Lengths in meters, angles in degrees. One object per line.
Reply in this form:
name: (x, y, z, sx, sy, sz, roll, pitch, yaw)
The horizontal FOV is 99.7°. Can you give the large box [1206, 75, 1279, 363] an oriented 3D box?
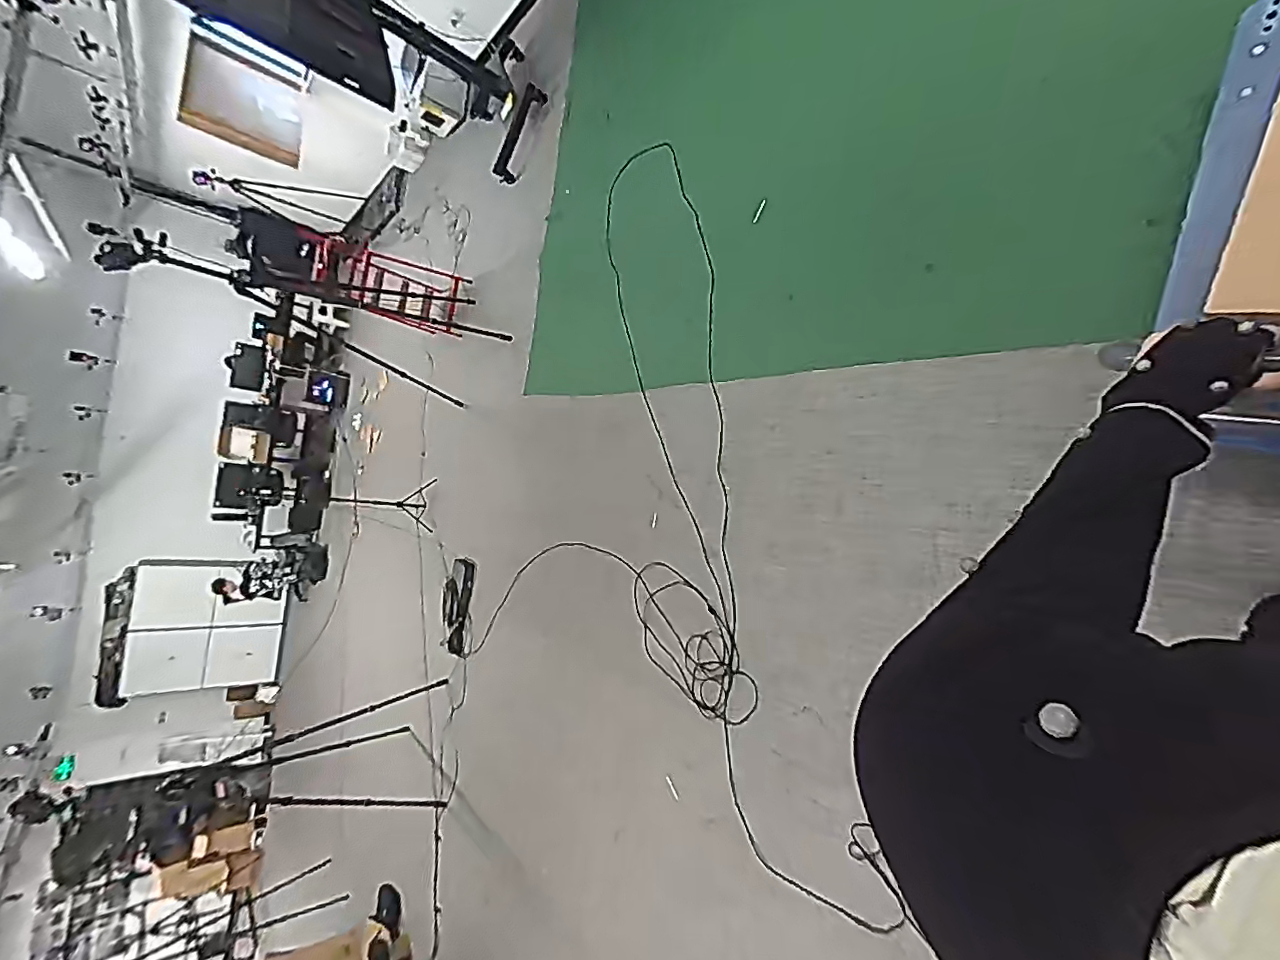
large box: (1.138, -0.405, 0.815, 0.320, 0.320, 0.408, 21, 98, 48)
